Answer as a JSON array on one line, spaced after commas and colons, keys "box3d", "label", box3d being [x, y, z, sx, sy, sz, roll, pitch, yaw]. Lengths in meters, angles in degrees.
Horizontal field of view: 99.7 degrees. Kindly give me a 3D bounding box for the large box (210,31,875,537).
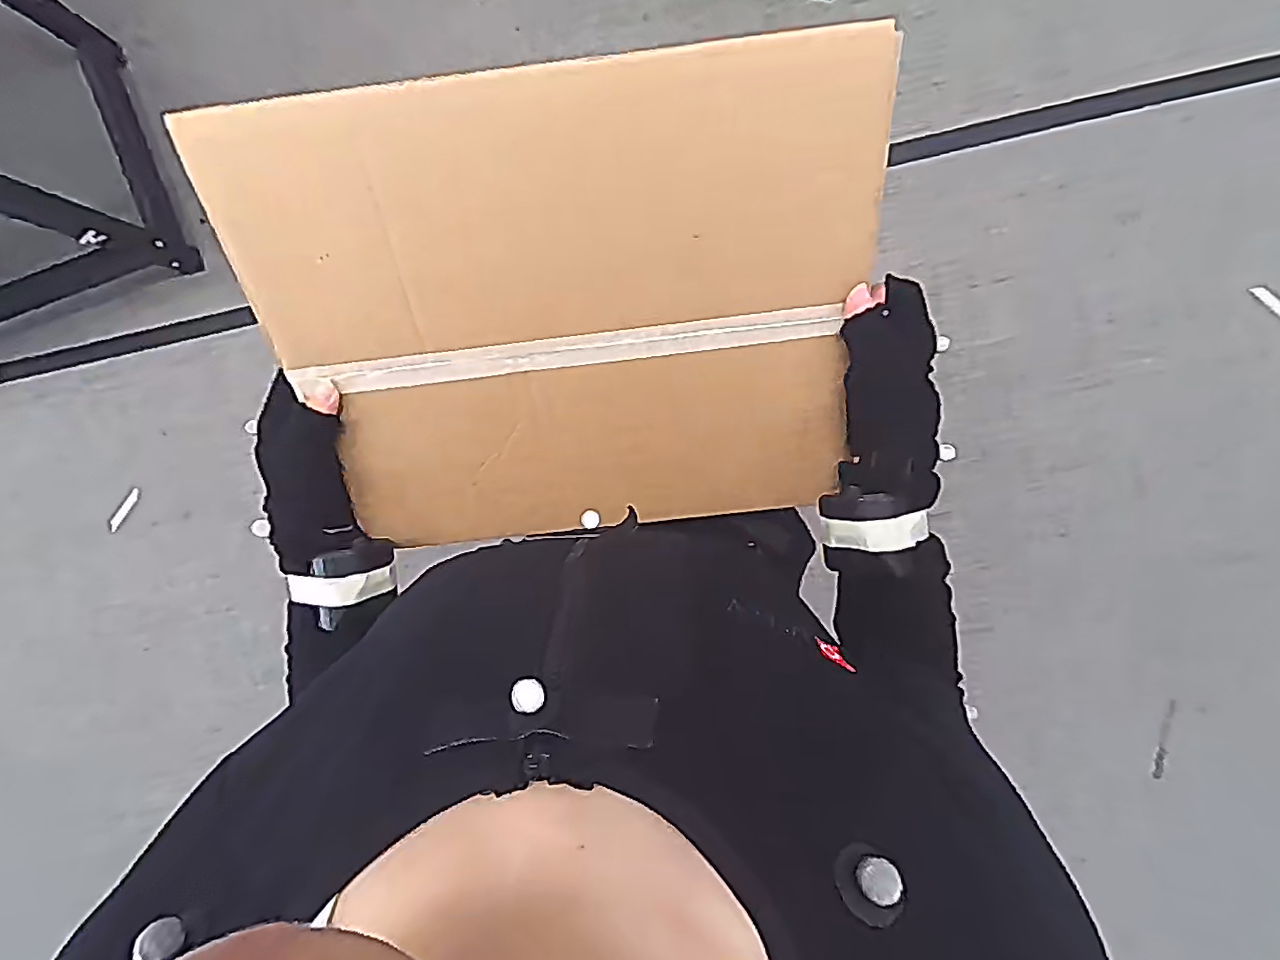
[{"box3d": [-0.046, -0.181, 0.516, 0.408, 0.320, 0.320, -7, 122, 2], "label": "large box"}]
